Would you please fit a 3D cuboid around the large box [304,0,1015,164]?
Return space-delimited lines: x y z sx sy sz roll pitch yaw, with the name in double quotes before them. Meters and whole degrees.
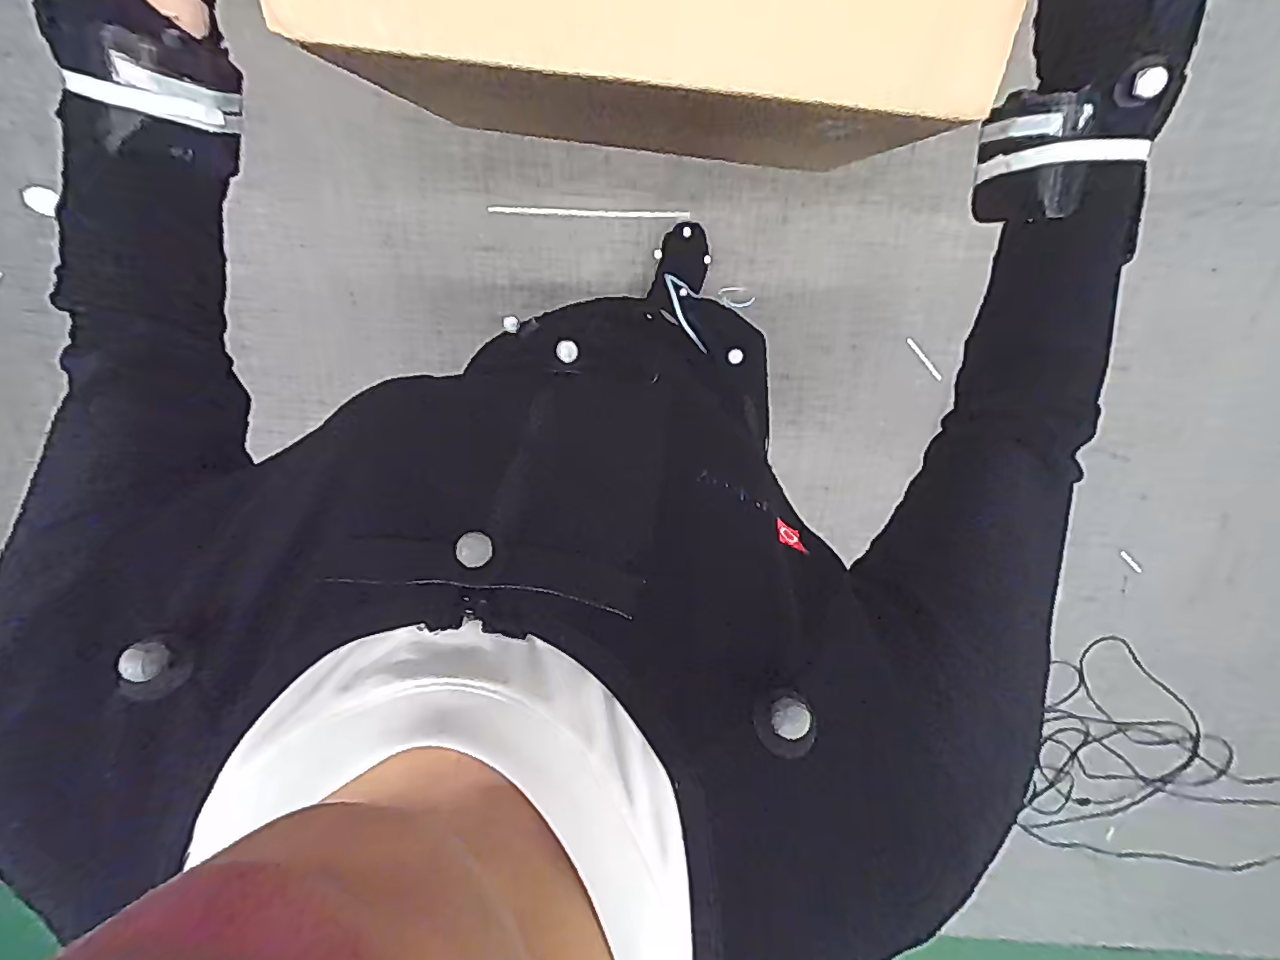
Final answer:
"large box" 0.021 -0.435 0.388 0.408 0.320 0.320 6 116 -1
